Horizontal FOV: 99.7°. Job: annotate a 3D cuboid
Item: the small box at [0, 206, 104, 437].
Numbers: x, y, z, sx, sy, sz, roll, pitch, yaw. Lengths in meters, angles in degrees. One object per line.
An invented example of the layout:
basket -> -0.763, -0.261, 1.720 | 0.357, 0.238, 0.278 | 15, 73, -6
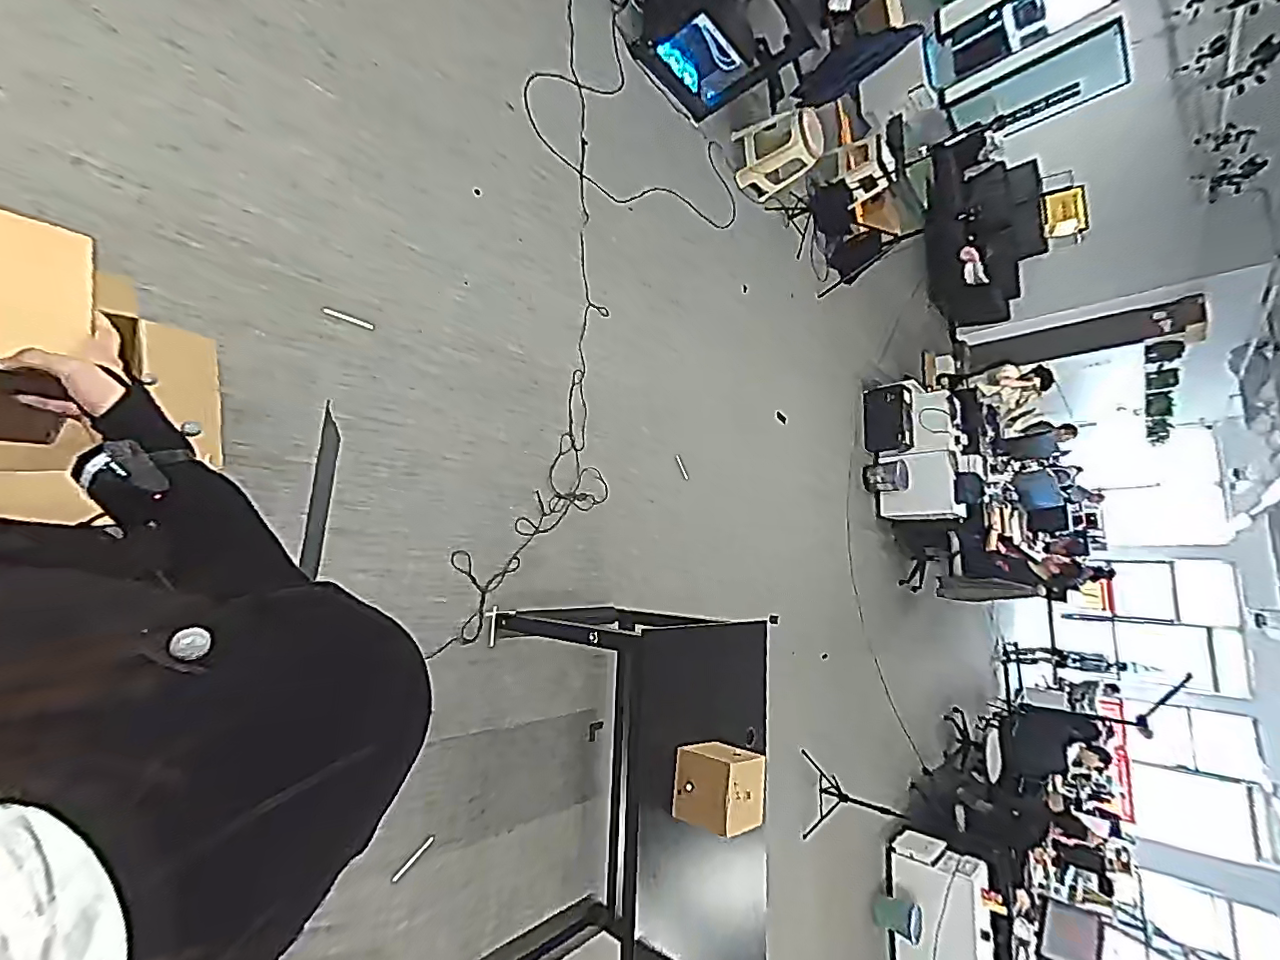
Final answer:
small box -> -0.647, -0.151, 0.509 | 0.179, 0.176, 0.168 | 4, 65, -54

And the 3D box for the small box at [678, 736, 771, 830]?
small box -> 0.223, 0.784, 1.420 | 0.179, 0.176, 0.168 | 20, 71, -44
